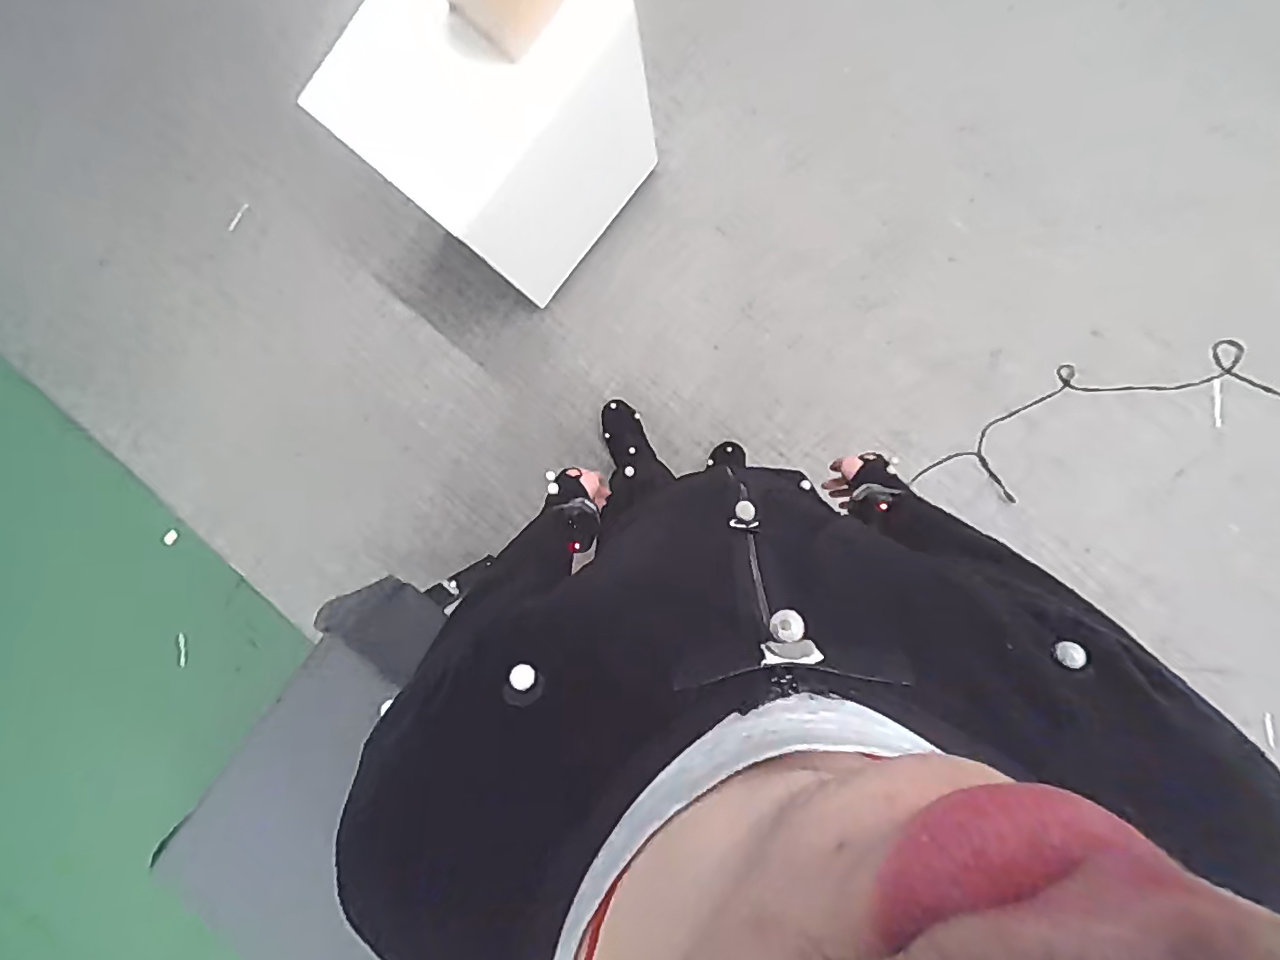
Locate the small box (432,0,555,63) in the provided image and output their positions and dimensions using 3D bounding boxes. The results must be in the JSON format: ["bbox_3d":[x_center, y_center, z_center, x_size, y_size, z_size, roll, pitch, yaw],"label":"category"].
[{"bbox_3d":[-0.246,-0.818,0.843,0.168,0.176,0.179,40,94,1],"label":"small box"}]
